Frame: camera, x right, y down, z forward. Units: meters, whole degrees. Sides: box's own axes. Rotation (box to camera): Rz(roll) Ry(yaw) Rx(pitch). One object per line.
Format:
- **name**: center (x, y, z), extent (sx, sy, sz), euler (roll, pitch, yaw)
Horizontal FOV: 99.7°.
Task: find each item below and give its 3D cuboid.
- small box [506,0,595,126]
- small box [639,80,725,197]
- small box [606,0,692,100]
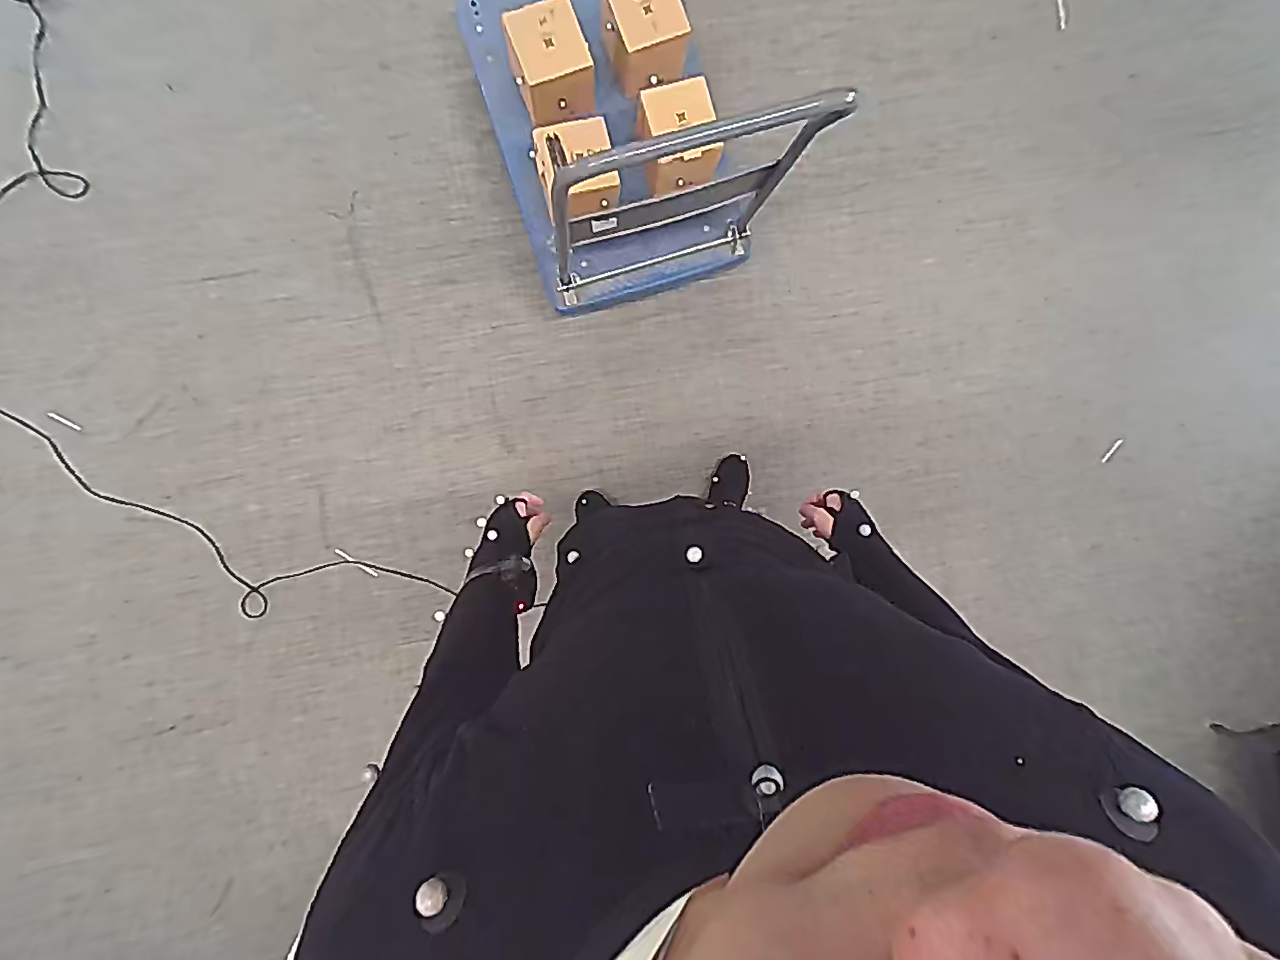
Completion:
- **small box**: center (-0.217, -1.033, 1.362), extent (0.168, 0.176, 0.179), euler (-22, 93, -5)
- **small box**: center (0.100, -0.871, 1.391), extent (0.168, 0.176, 0.179), euler (-17, 93, -4)
- **small box**: center (0.015, -1.128, 1.378), extent (0.168, 0.176, 0.179), euler (-21, 94, -3)
